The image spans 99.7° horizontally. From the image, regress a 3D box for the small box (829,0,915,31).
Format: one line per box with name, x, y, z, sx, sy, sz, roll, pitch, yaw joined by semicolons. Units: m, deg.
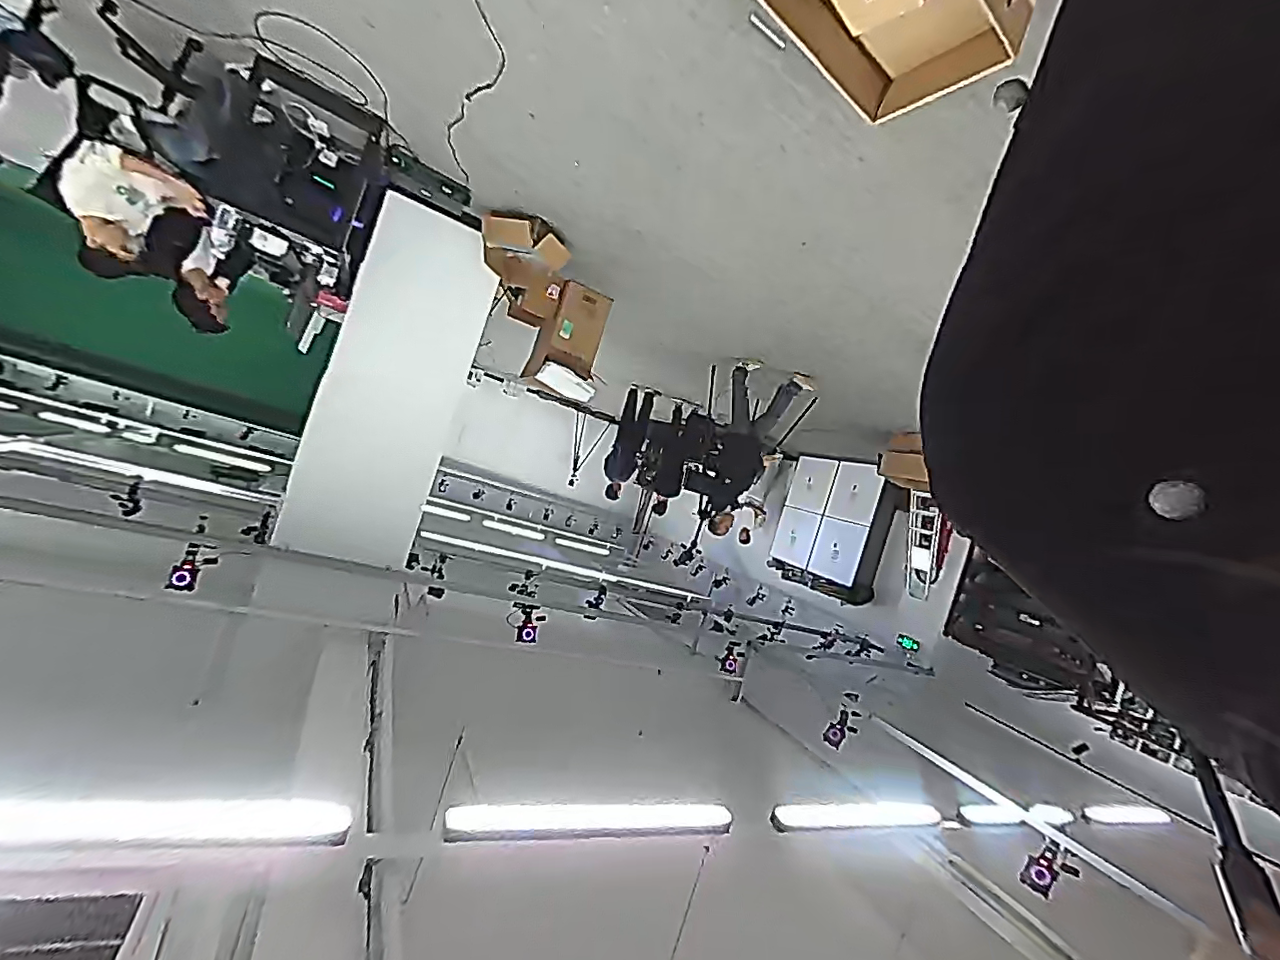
small box;0.522;-1.159;1.184;0.168;0.176;0.179;18;179;-42
